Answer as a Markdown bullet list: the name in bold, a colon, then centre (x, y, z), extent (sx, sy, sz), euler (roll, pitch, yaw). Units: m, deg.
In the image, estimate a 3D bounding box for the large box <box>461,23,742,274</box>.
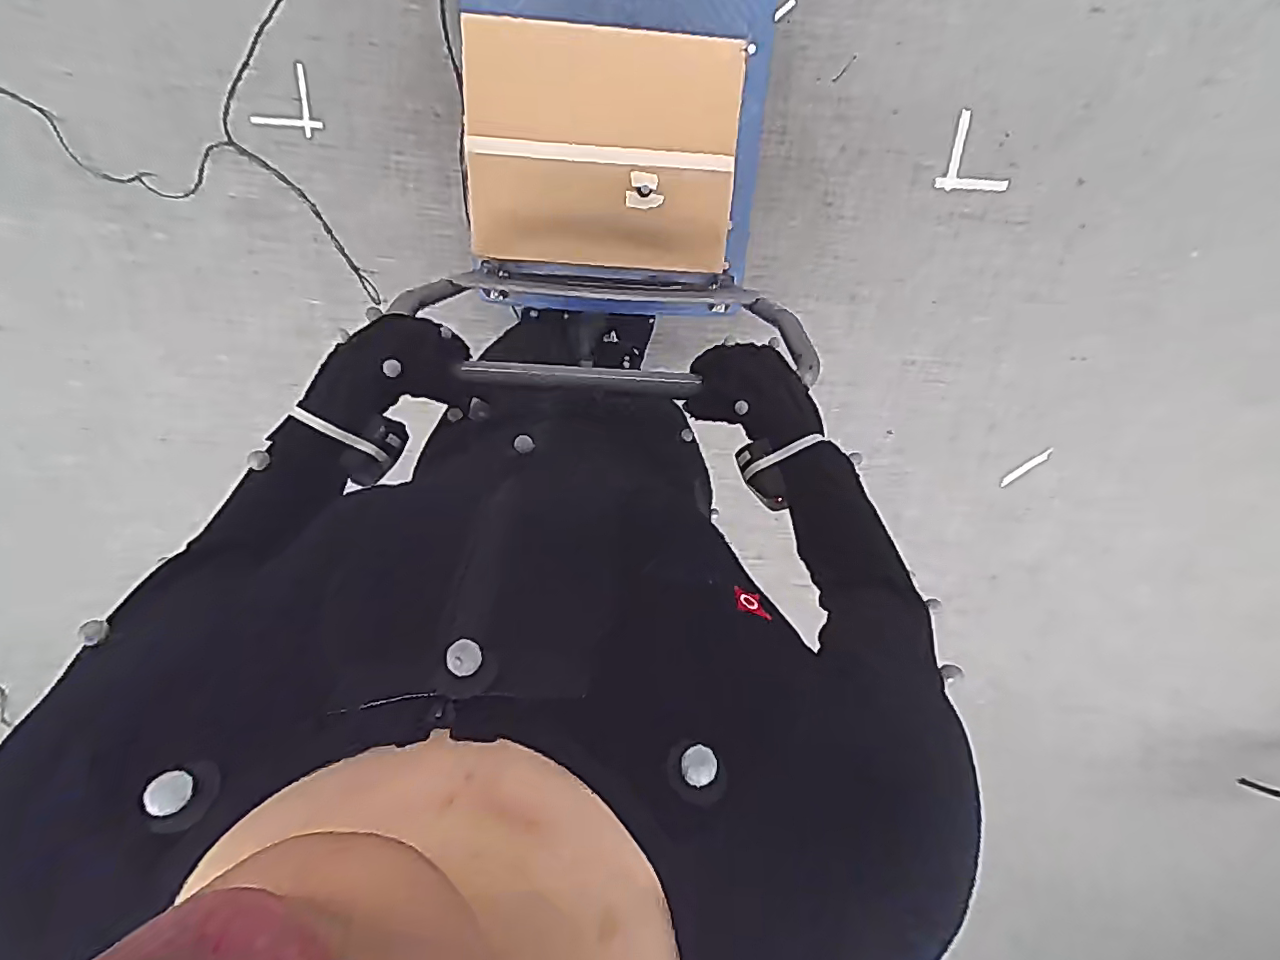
- **large box**: centre (-0.067, -0.537, 0.951), extent (0.408, 0.320, 0.320), euler (2, 112, -4)
